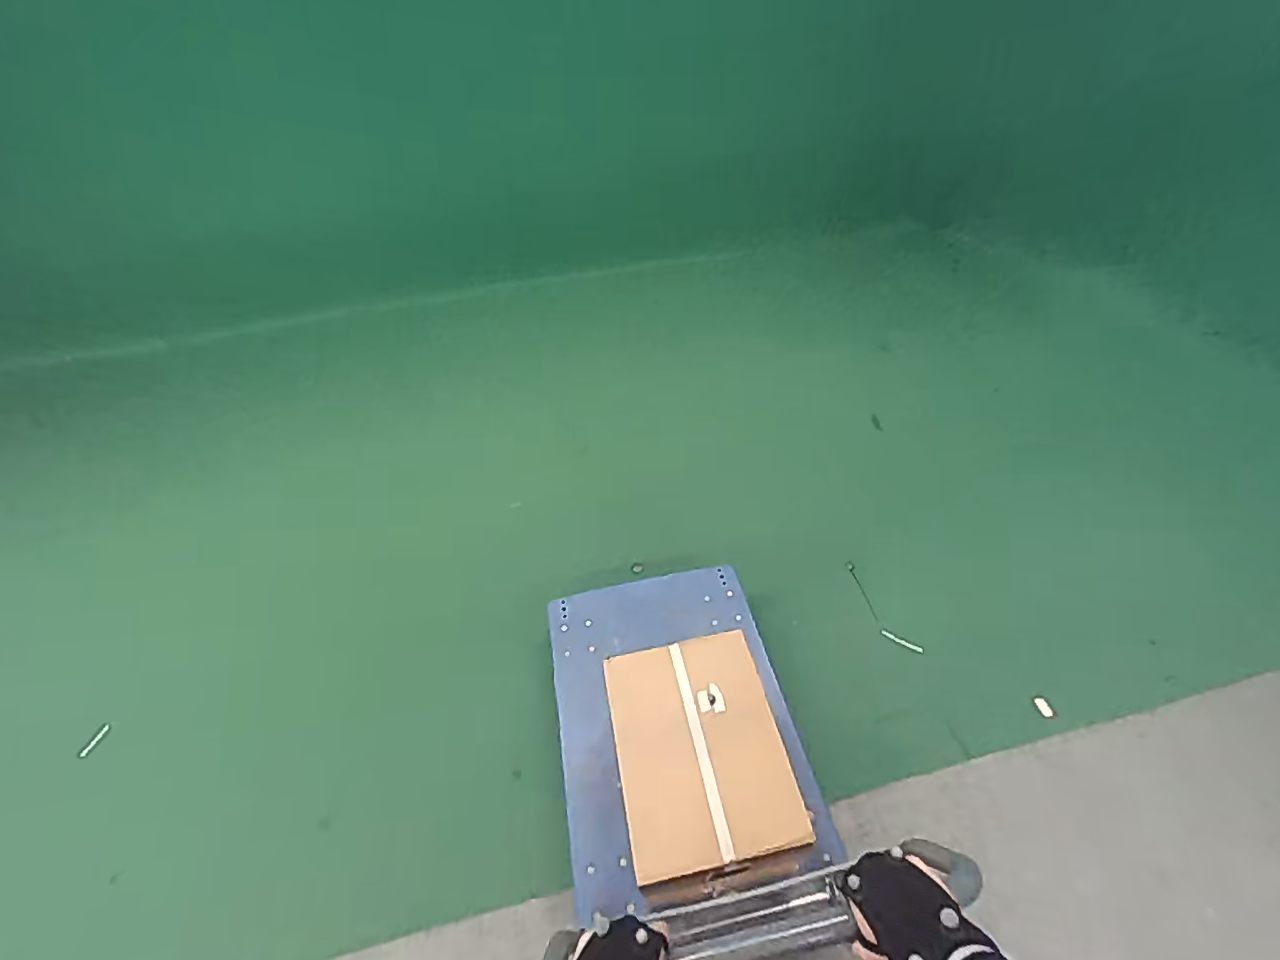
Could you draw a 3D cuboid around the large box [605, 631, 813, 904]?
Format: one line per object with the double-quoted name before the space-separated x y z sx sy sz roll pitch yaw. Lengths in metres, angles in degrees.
"large box" 0.123 0.600 1.147 0.320 0.320 0.408 -10 46 -5
